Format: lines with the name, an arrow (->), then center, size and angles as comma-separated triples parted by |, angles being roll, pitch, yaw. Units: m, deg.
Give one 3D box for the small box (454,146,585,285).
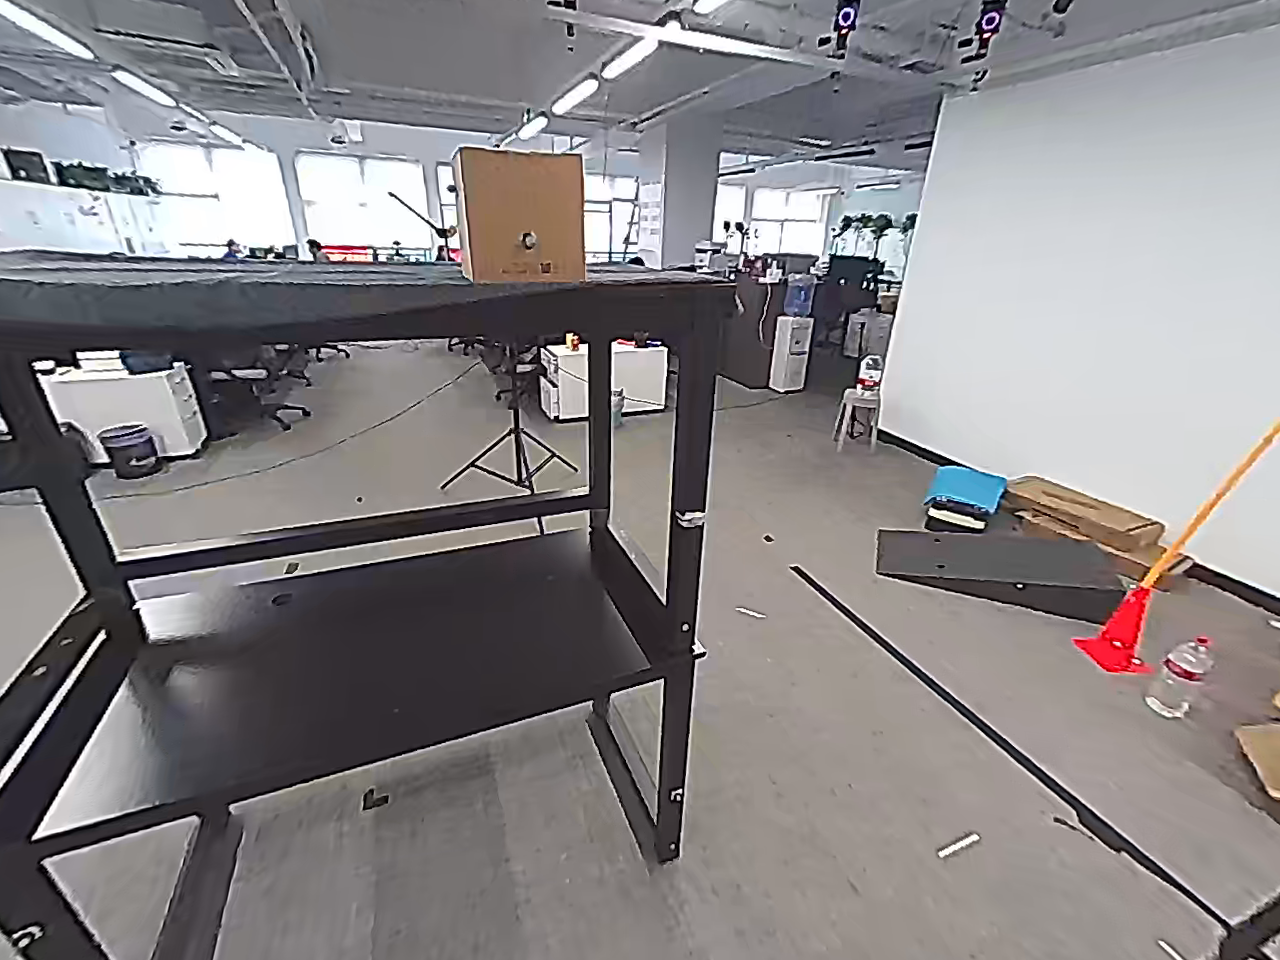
small box -> -0.185, -0.392, 0.821 | 0.168, 0.176, 0.179 | -9, 26, -19
